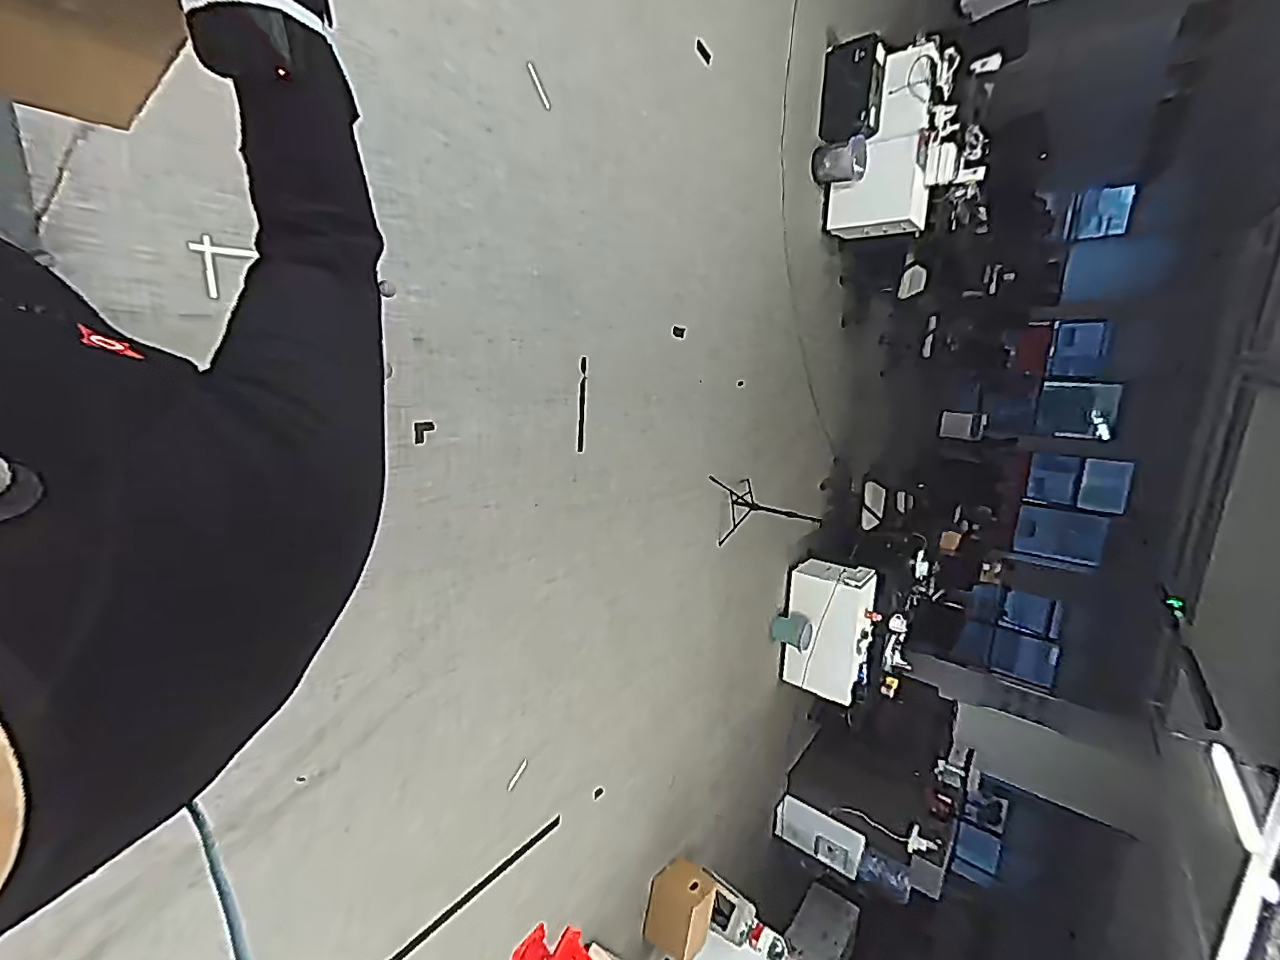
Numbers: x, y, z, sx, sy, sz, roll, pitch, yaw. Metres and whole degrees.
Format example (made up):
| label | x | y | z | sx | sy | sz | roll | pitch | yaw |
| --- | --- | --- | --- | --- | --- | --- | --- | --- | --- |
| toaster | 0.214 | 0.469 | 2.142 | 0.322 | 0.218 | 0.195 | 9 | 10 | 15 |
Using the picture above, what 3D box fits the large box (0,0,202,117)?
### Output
| label | x | y | z | sx | sy | sz | roll | pitch | yaw |
| --- | --- | --- | --- | --- | --- | --- | --- | --- | --- |
| large box | -0.526 | -0.457 | 0.271 | 0.408 | 0.320 | 0.320 | -14 | 109 | -50 |
